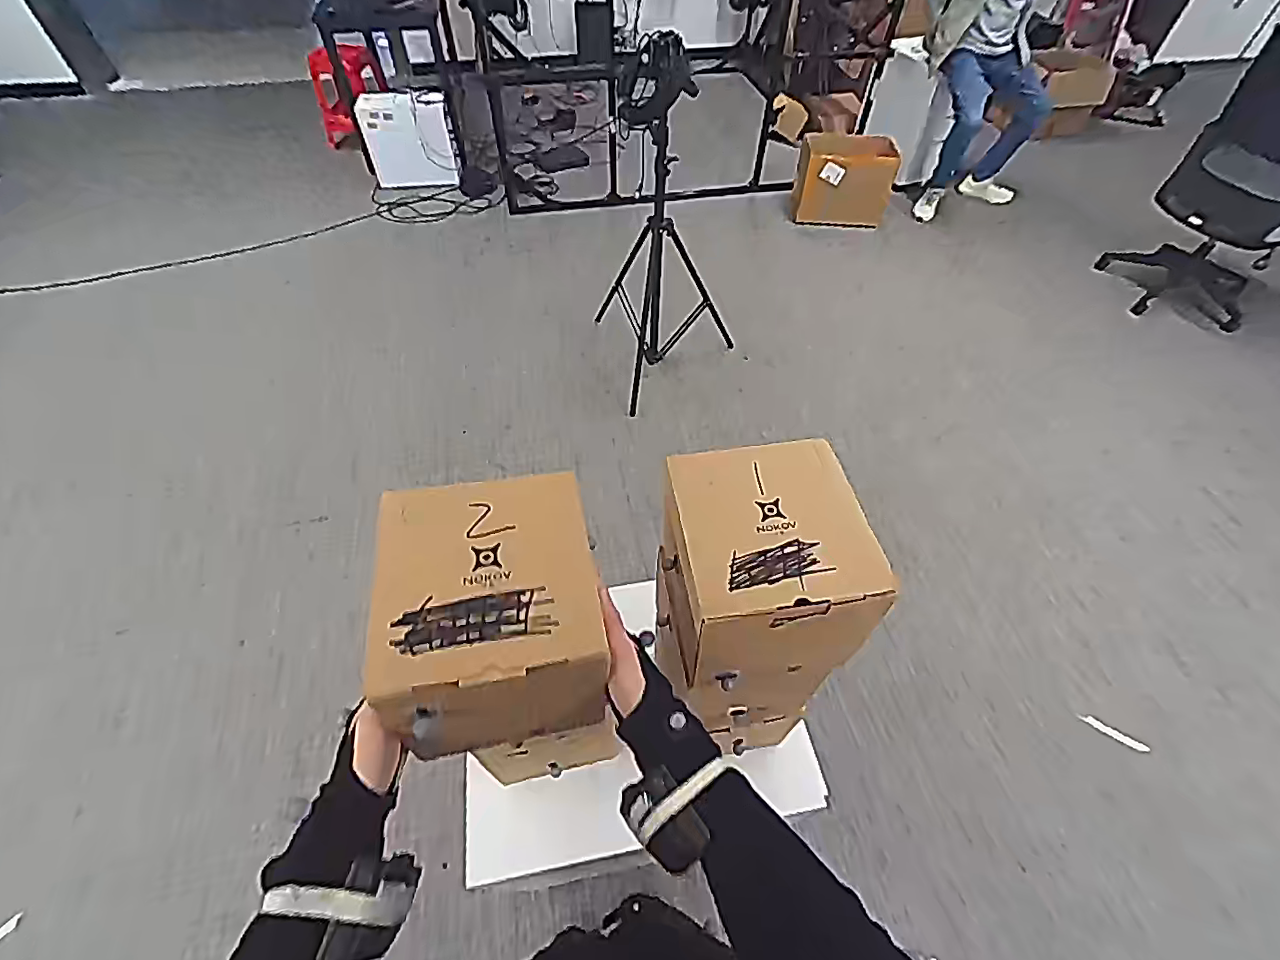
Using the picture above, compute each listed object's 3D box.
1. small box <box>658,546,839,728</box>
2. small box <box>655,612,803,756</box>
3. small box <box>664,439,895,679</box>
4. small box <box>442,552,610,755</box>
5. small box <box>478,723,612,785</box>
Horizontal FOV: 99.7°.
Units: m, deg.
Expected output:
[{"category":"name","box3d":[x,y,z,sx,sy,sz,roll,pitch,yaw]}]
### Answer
[{"category":"small box","box3d":[0.117,0.187,0.675,0.168,0.176,0.179,-9,53,-5]},{"category":"small box","box3d":[0.117,0.293,0.797,0.168,0.176,0.179,-8,54,-7]},{"category":"small box","box3d":[0.119,0.086,0.544,0.168,0.176,0.179,-7,51,-4]},{"category":"small box","box3d":[-0.131,0.214,0.649,0.168,0.176,0.179,-9,52,-8]},{"category":"small box","box3d":[-0.136,0.312,0.778,0.168,0.176,0.179,-10,53,-9]}]
